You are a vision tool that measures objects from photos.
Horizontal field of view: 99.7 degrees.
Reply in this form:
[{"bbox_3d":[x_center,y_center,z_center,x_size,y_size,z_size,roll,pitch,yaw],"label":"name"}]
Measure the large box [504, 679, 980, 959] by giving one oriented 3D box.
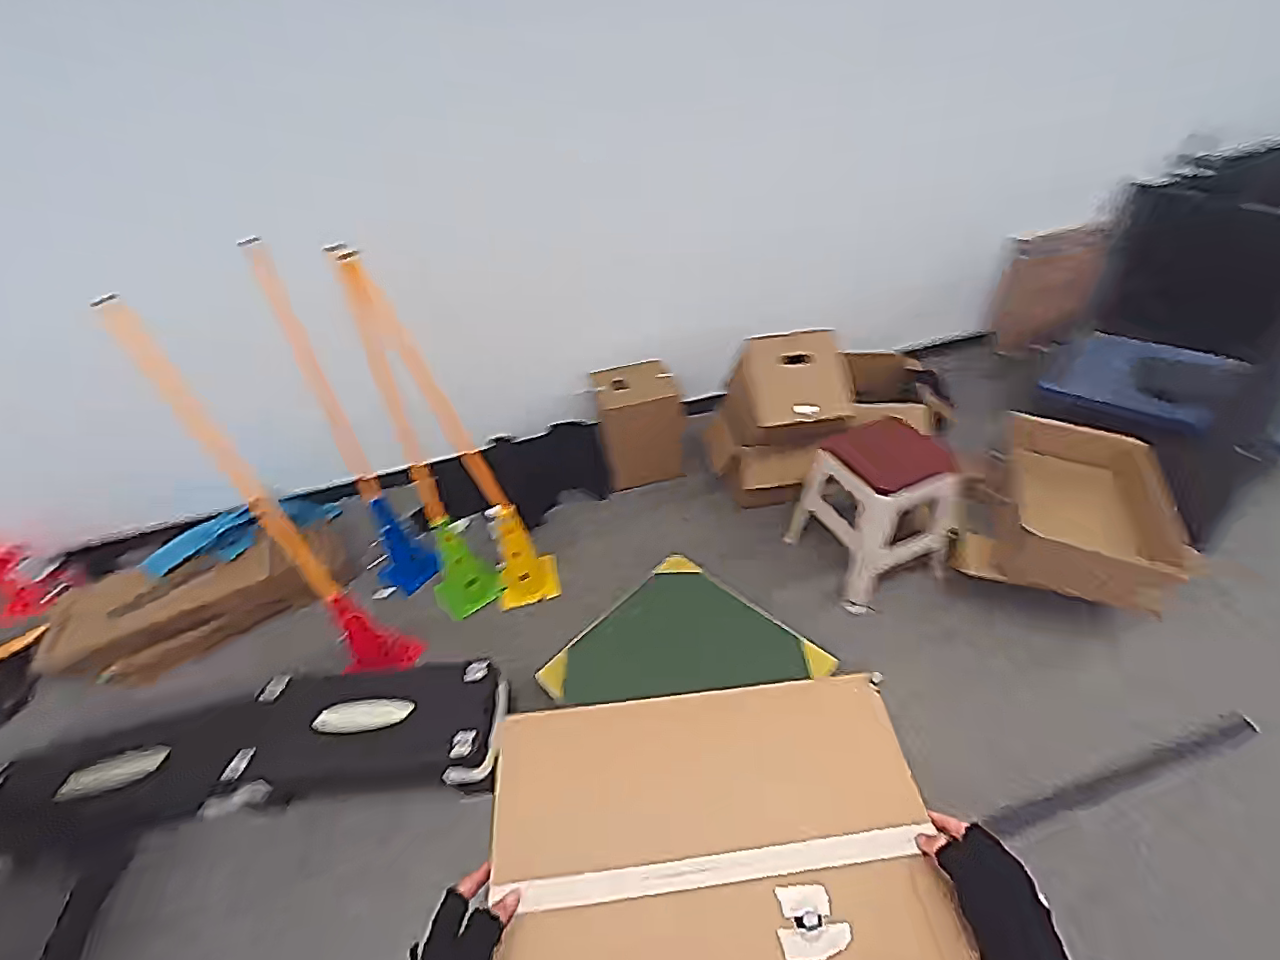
[{"bbox_3d":[0.079,0.456,0.602,0.408,0.320,0.320,-5,47,-3],"label":"large box"}]
